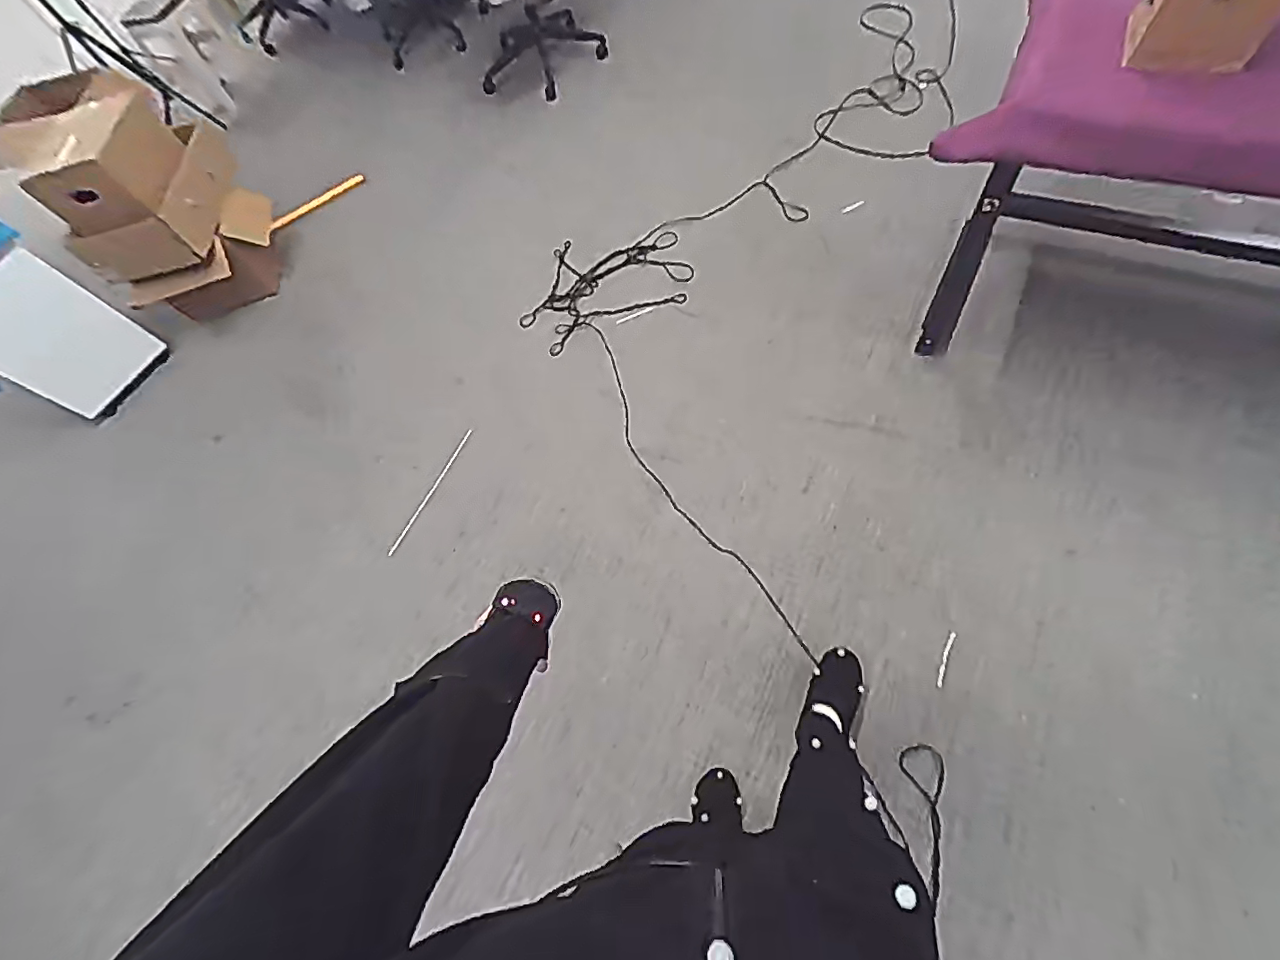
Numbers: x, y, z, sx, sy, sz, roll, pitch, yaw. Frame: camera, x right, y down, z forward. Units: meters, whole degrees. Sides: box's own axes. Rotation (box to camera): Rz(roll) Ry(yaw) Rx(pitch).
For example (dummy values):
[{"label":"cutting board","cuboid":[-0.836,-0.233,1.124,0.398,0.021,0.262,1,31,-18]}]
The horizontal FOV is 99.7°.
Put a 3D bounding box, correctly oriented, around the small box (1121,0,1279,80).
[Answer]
[{"label":"small box","cuboid":[0.976,-0.822,0.925,0.179,0.176,0.168,18,70,19]}]
